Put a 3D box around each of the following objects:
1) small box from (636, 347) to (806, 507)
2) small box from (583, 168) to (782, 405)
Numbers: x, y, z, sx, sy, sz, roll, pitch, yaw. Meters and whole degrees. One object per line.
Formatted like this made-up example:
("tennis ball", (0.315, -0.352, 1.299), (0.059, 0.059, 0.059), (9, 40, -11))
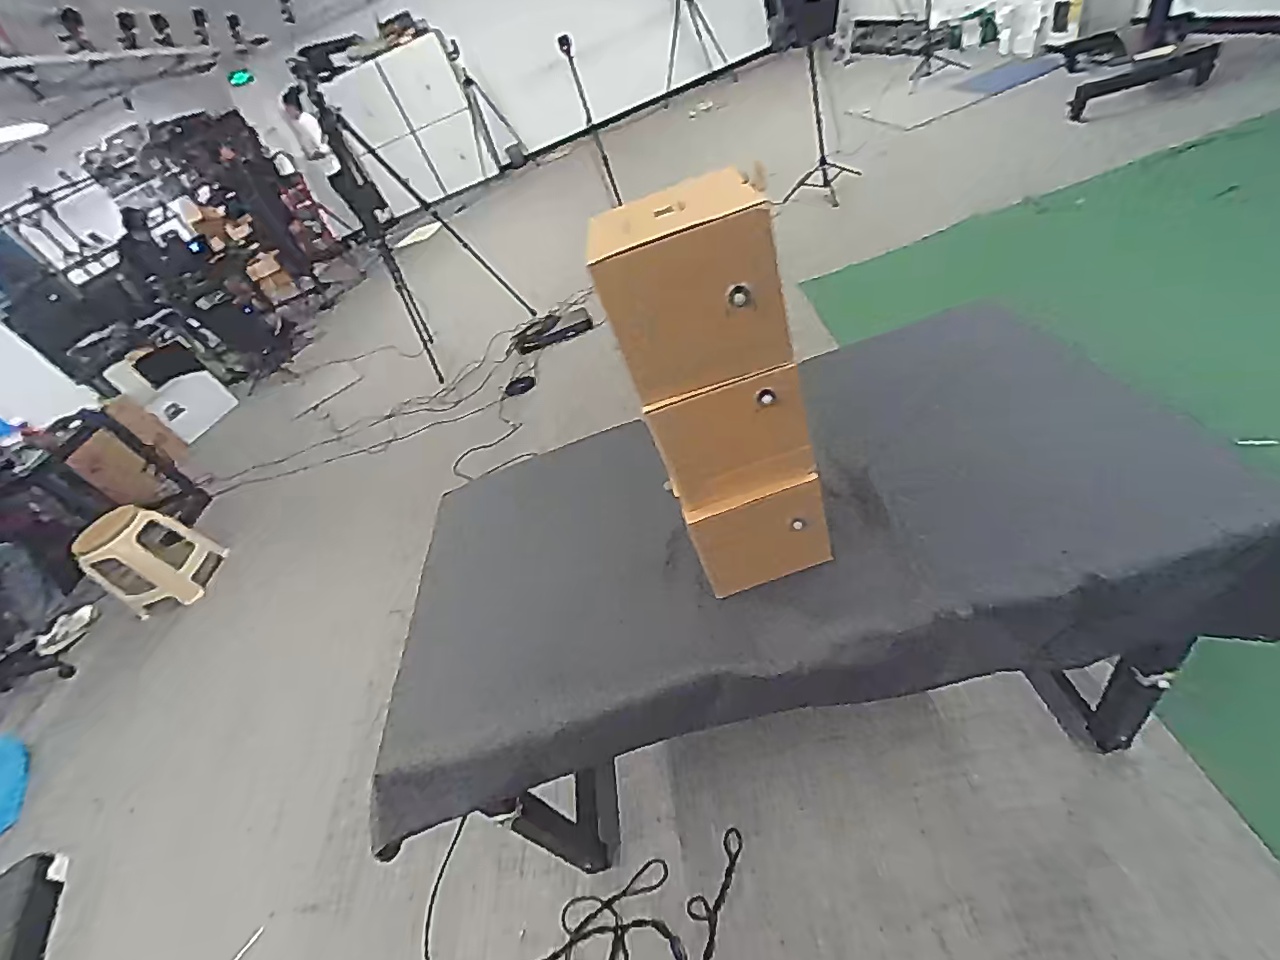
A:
("small box", (0.097, -0.090, 0.698), (0.179, 0.176, 0.168), (-18, 39, 7))
("small box", (0.050, -0.211, 0.599), (0.179, 0.176, 0.168), (-17, 38, 9))
